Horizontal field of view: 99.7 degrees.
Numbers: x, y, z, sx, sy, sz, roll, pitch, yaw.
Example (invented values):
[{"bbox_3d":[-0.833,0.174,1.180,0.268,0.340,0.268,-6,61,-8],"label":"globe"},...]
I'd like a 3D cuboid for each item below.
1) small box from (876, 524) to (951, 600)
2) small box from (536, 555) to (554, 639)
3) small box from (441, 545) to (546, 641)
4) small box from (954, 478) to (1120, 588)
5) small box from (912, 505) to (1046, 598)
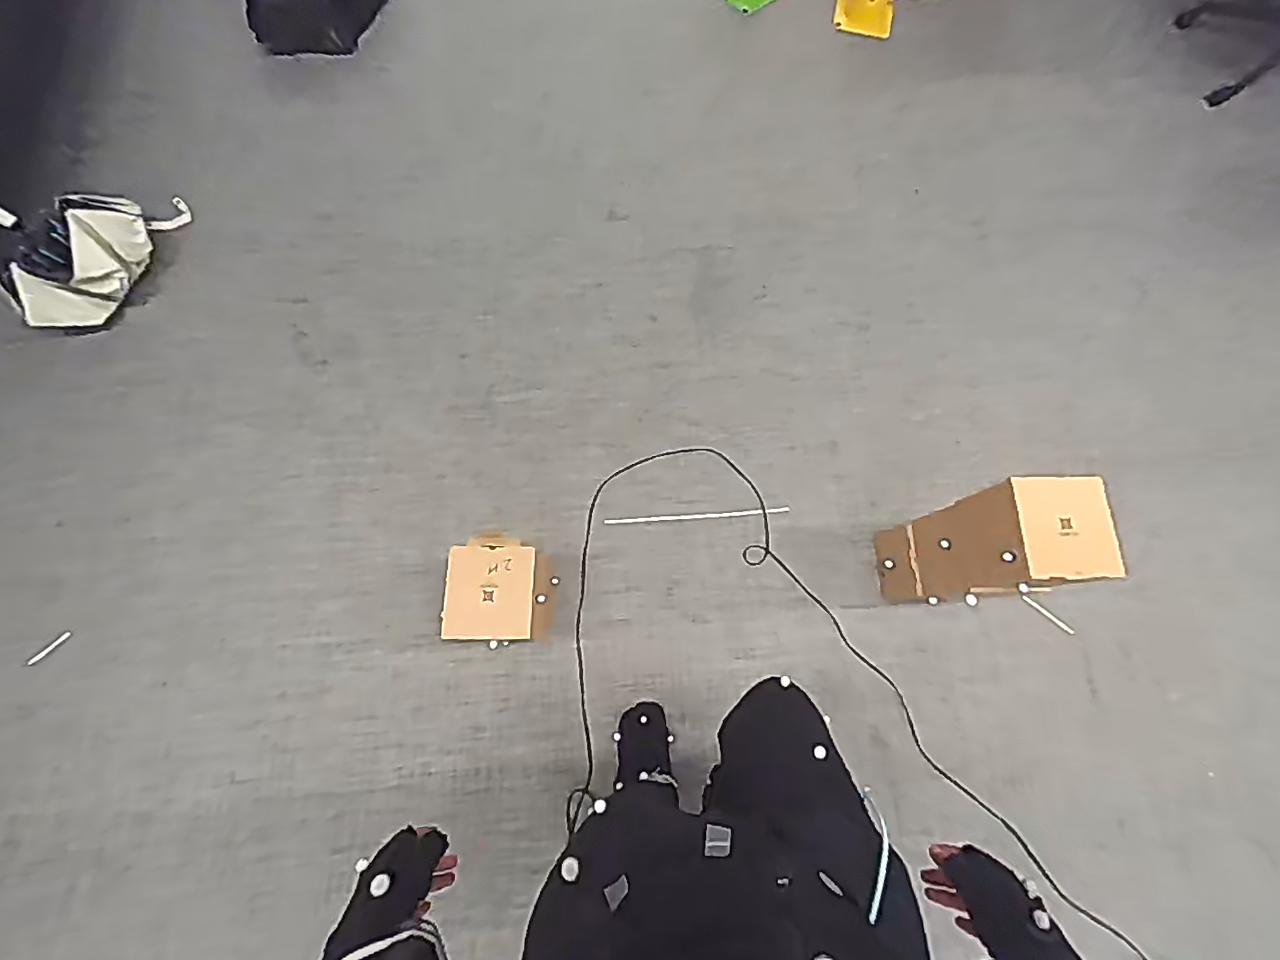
[{"bbox_3d":[0.689,0.201,1.302,0.179,0.176,0.168,-1,74,-2],"label":"small box"},{"bbox_3d":[-0.293,0.268,1.237,0.168,0.176,0.179,3,74,-1],"label":"small box"},{"bbox_3d":[-0.286,0.232,1.093,0.168,0.176,0.179,1,73,-1],"label":"small box"},{"bbox_3d":[0.709,0.103,0.991,0.168,0.176,0.179,0,75,-3],"label":"small box"},{"bbox_3d":[0.703,0.156,1.144,0.168,0.176,0.179,0,75,-3],"label":"small box"}]
